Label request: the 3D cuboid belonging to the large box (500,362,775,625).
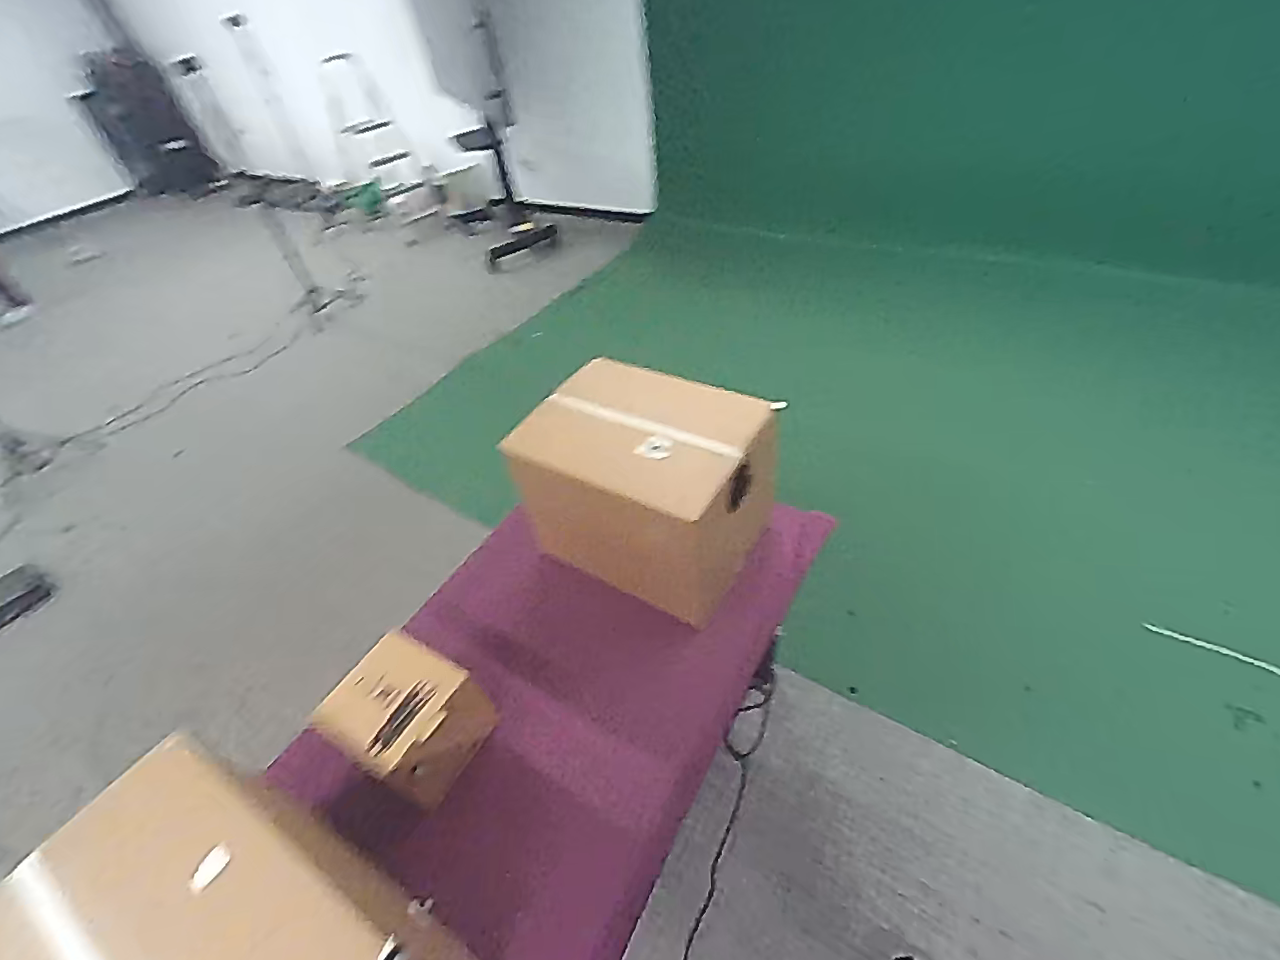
[{"bbox_3d":[0.008,0.014,1.060,0.408,0.320,0.320,20,52,25],"label":"large box"}]
